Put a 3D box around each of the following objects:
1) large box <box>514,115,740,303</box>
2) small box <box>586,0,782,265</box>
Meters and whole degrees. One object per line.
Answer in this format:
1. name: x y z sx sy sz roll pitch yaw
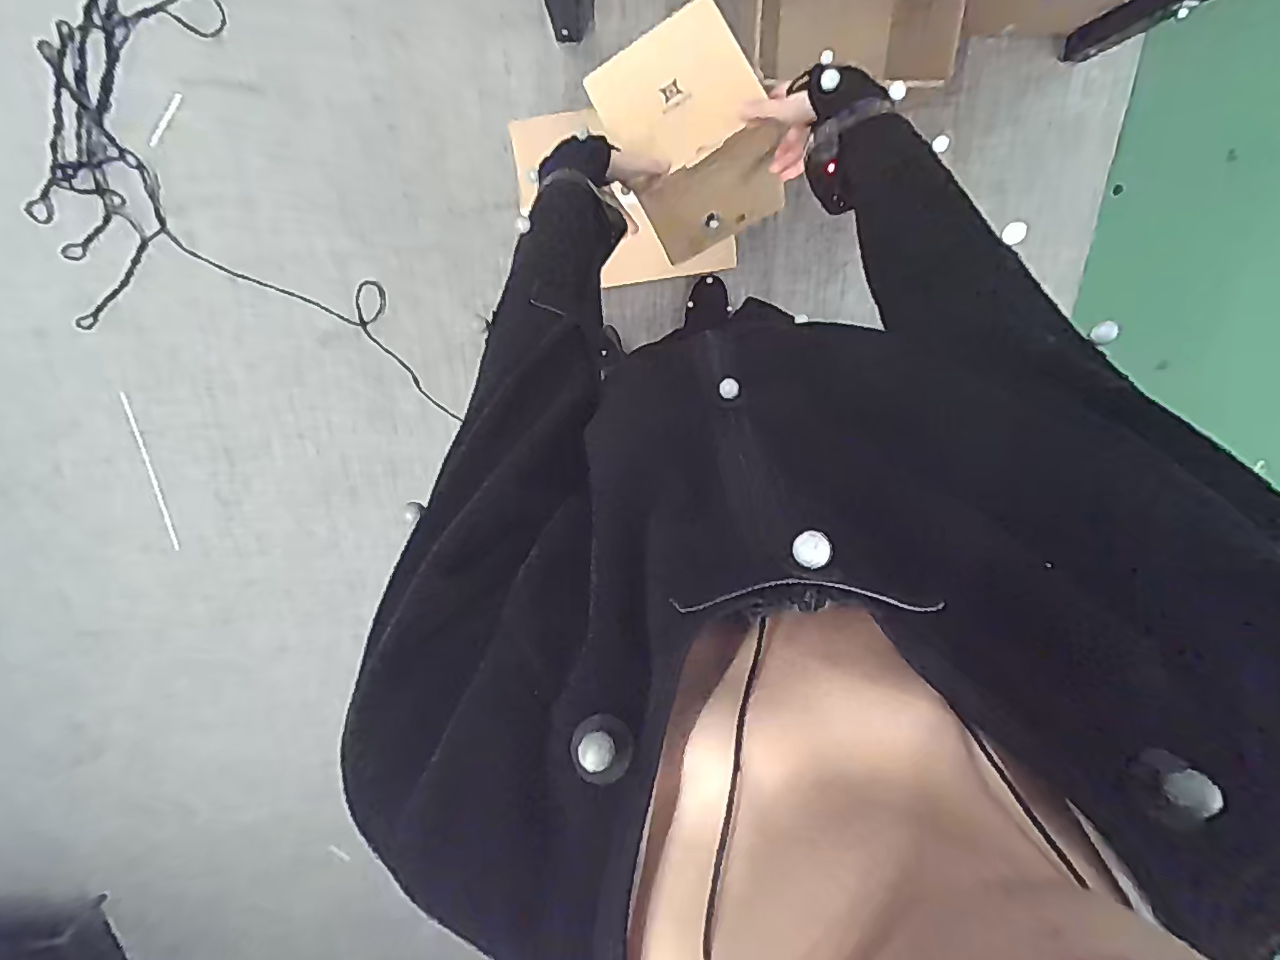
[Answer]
1. large box: -0.021 -0.576 1.179 0.408 0.320 0.320 -8 109 2
2. small box: 0.062 -0.405 0.662 0.168 0.176 0.179 -26 78 13
